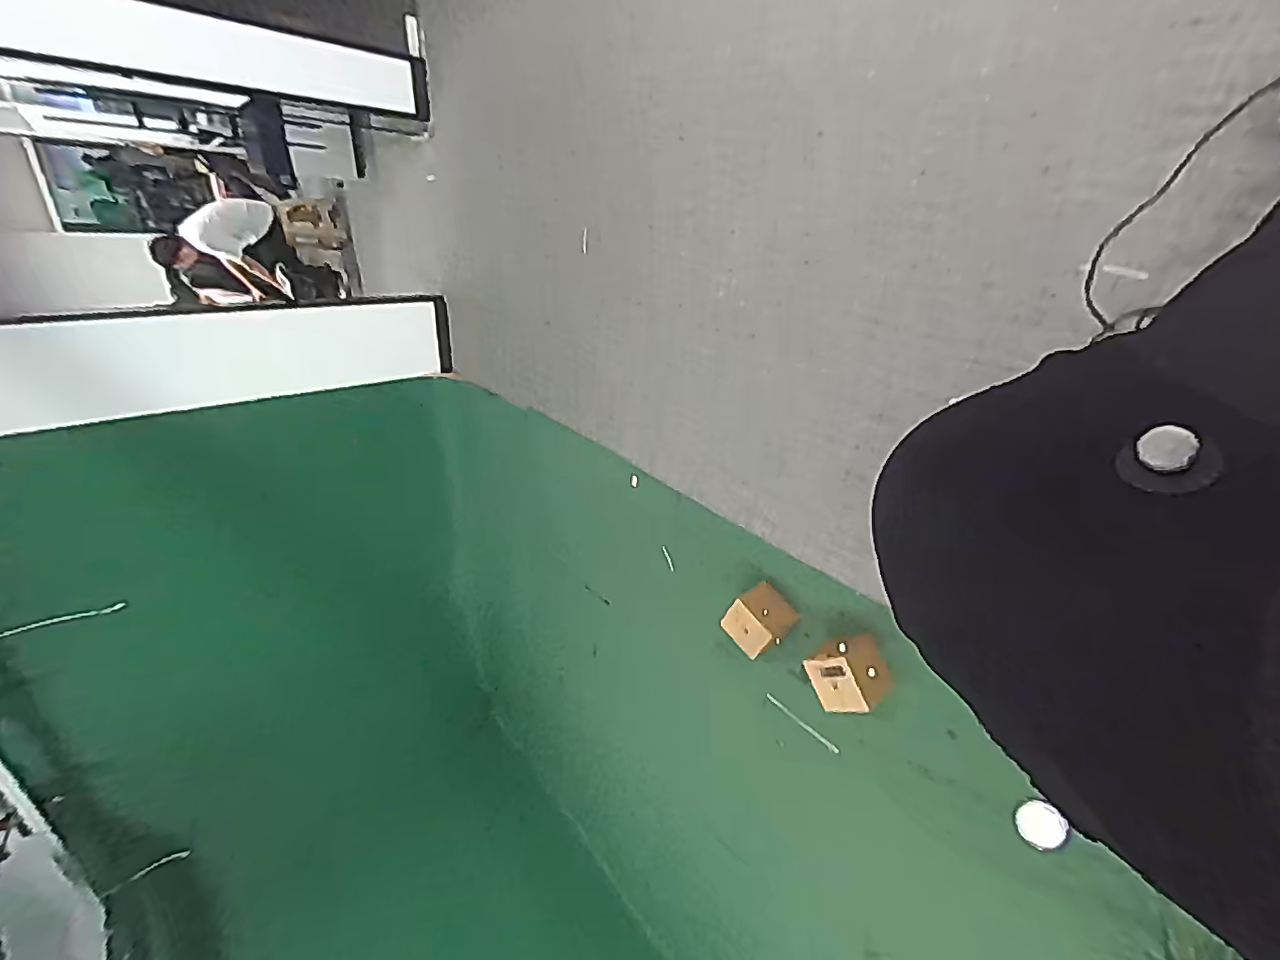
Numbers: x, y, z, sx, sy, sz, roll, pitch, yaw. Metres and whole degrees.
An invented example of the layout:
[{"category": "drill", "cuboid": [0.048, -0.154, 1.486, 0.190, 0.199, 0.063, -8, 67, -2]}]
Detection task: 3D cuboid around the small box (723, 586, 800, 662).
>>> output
[{"category": "small box", "cuboid": [0.438, 0.510, 1.939, 0.179, 0.176, 0.168, 48, 135, 28]}]
